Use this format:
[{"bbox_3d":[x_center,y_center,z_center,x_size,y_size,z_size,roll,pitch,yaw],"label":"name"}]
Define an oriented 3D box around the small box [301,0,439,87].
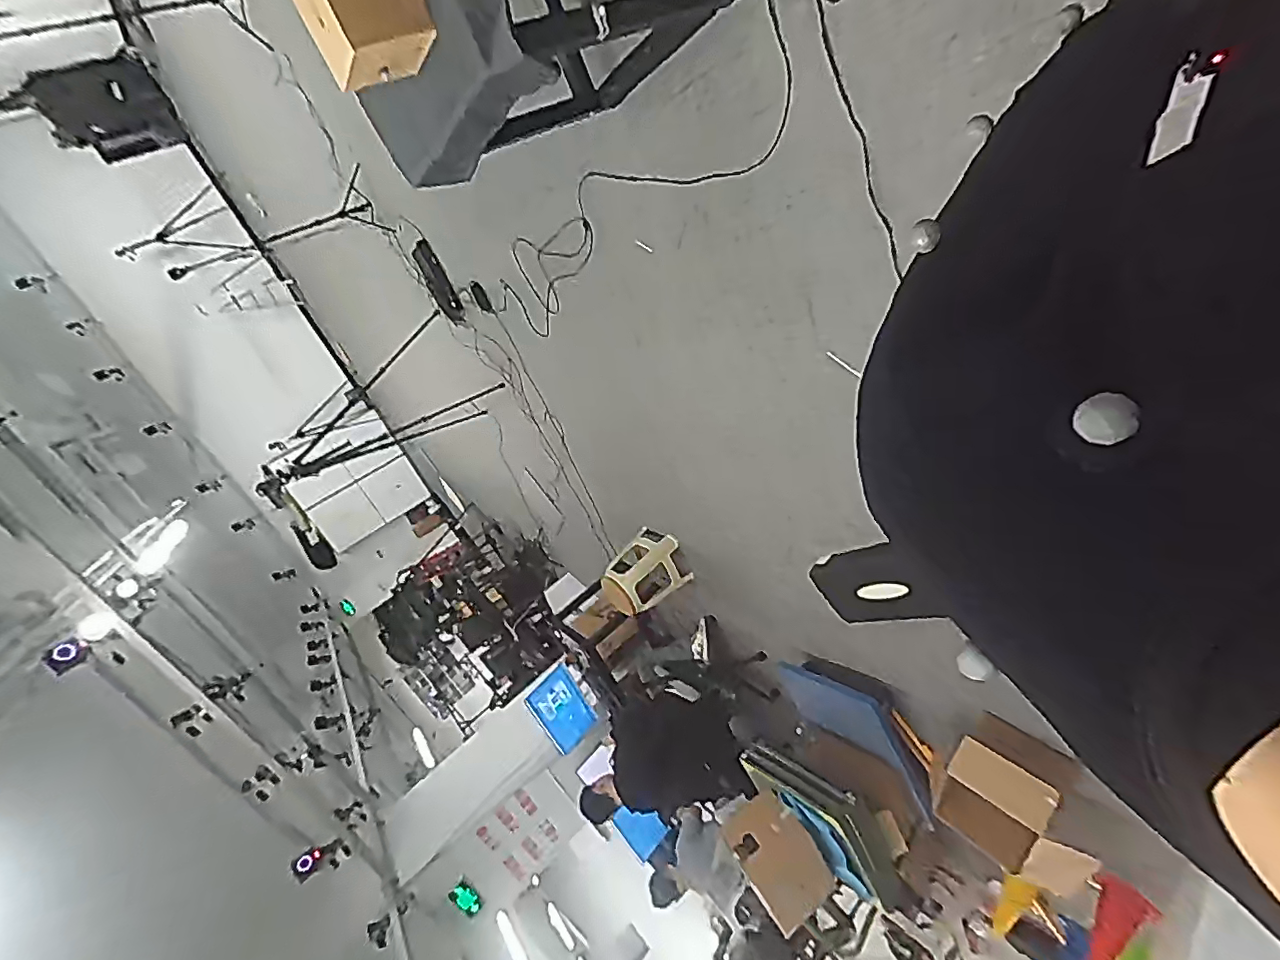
[{"bbox_3d":[-0.499,-0.873,0.992,0.168,0.176,0.179,14,135,55],"label":"small box"}]
